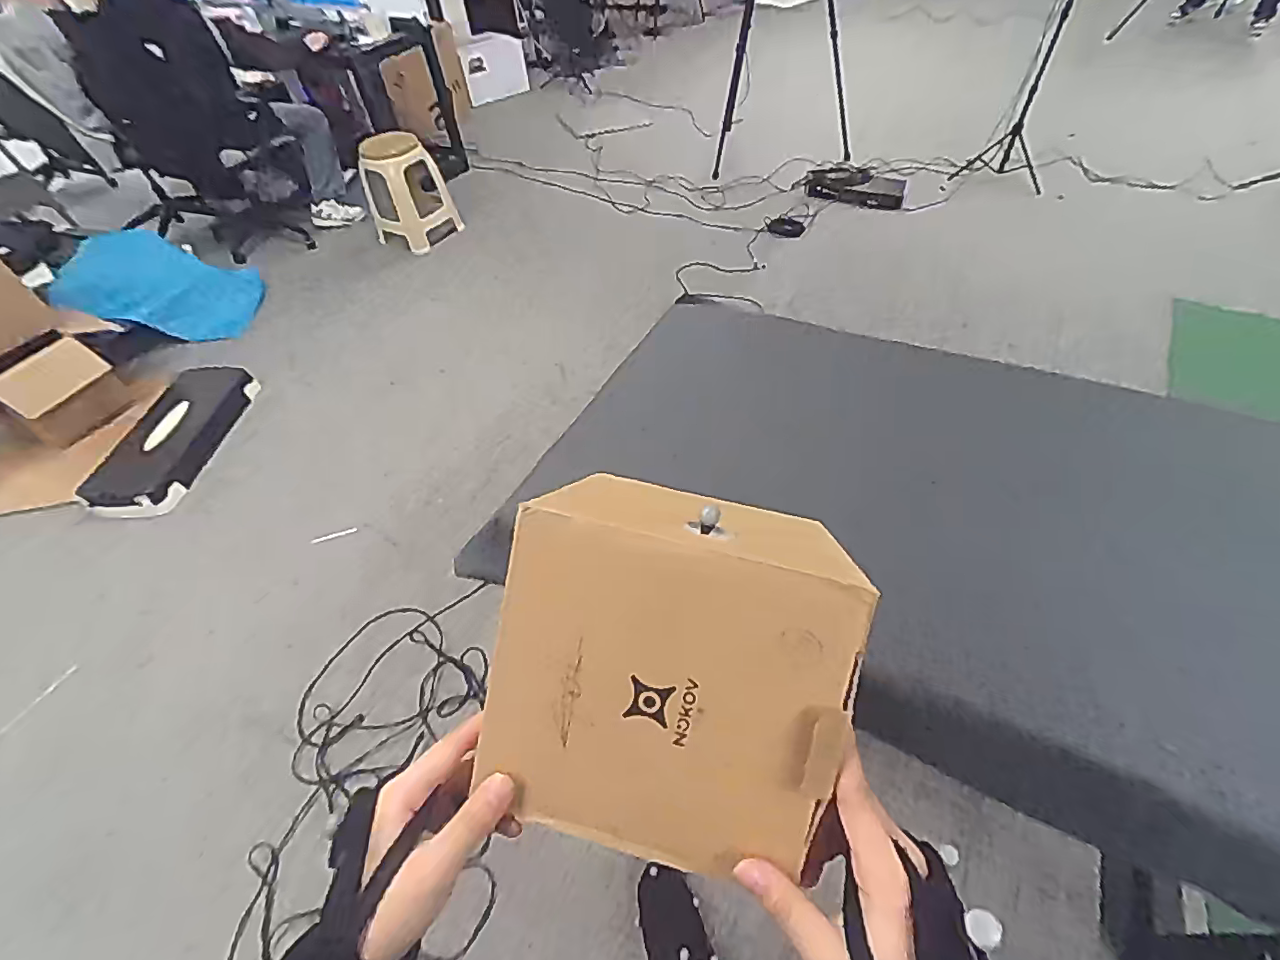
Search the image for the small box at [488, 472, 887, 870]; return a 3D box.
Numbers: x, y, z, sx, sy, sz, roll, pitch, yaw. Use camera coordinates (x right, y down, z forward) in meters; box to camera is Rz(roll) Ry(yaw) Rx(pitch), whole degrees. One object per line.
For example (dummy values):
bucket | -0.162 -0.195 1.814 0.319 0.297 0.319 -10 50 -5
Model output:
small box | 0.029 0.092 0.350 0.179 0.176 0.168 12 96 9
